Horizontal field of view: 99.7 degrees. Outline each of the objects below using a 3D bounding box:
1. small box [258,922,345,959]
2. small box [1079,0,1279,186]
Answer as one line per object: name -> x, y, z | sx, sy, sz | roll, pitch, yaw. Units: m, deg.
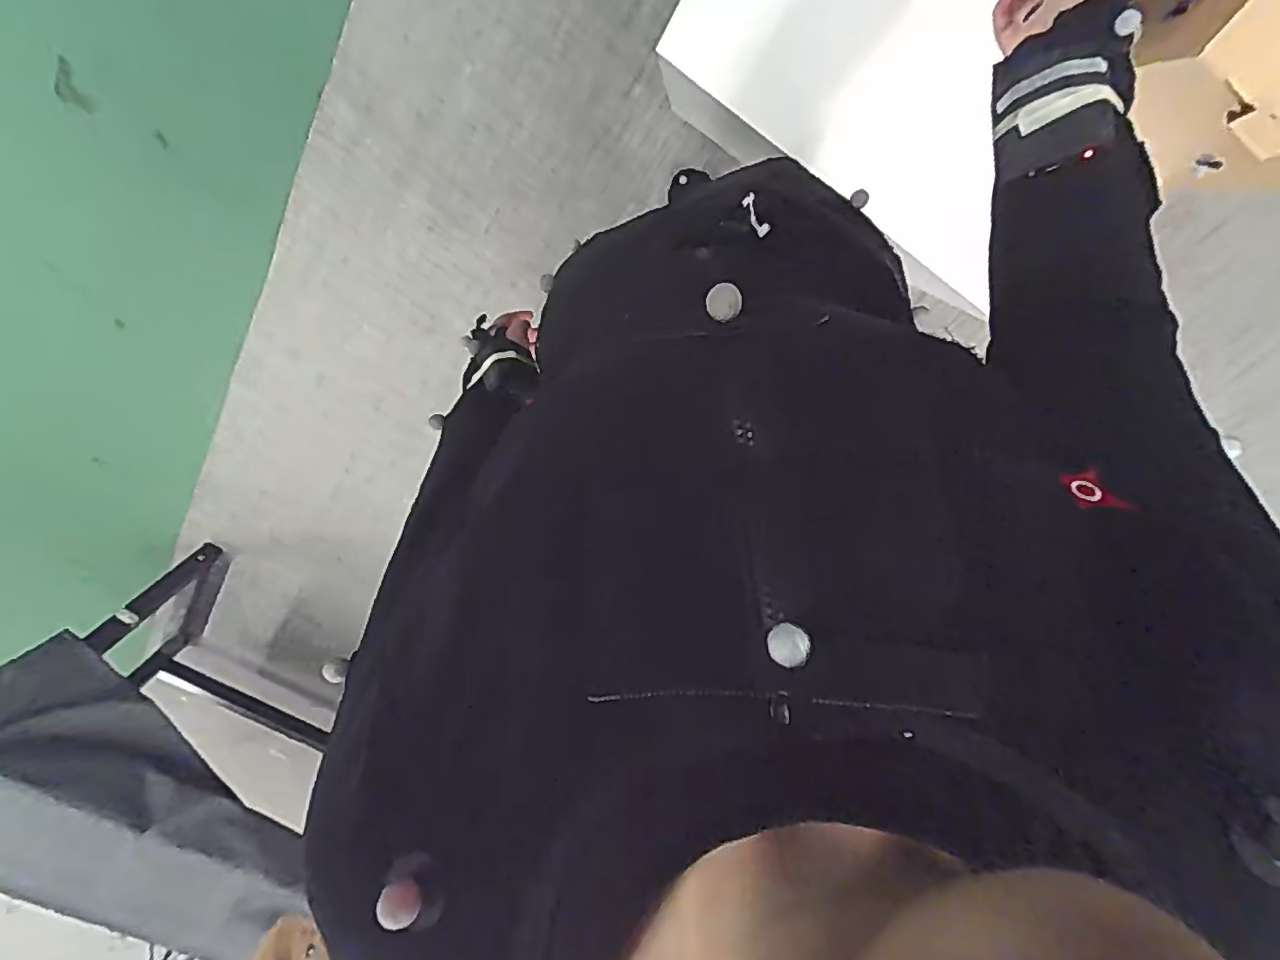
small box -> -0.844, 1.206, 1.292 | 0.168, 0.176, 0.179 | 34, 117, -13
small box -> 0.510, -0.359, 0.433 | 0.168, 0.176, 0.179 | 30, 117, -13
